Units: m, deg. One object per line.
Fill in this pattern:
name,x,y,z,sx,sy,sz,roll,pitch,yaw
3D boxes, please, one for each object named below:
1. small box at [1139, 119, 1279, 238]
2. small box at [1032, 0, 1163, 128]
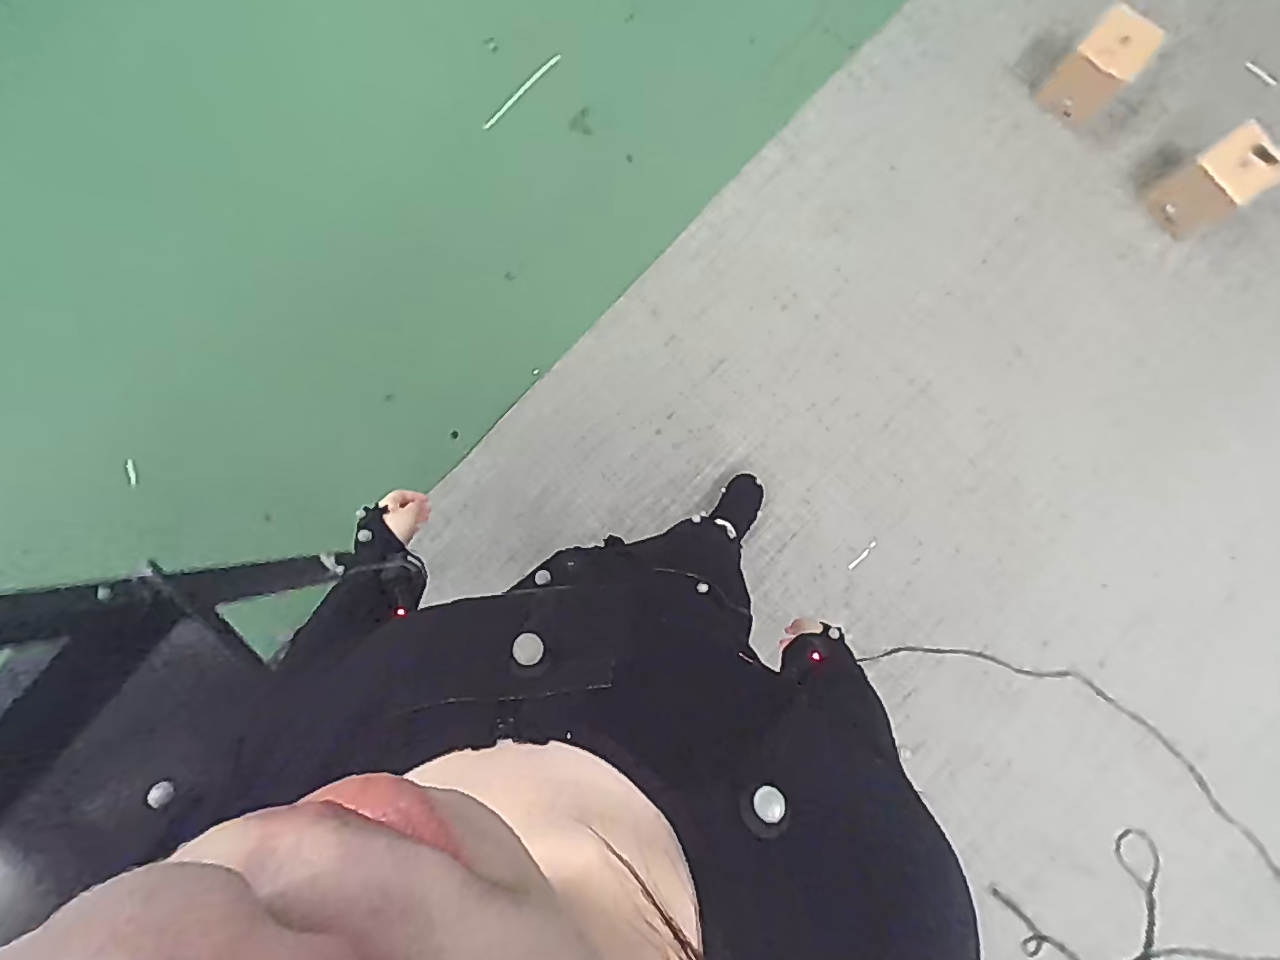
small box,1.491,-0.783,1.419,0.179,0.176,0.168,-36,85,0
small box,1.217,-1.109,1.454,0.168,0.176,0.179,40,88,5
